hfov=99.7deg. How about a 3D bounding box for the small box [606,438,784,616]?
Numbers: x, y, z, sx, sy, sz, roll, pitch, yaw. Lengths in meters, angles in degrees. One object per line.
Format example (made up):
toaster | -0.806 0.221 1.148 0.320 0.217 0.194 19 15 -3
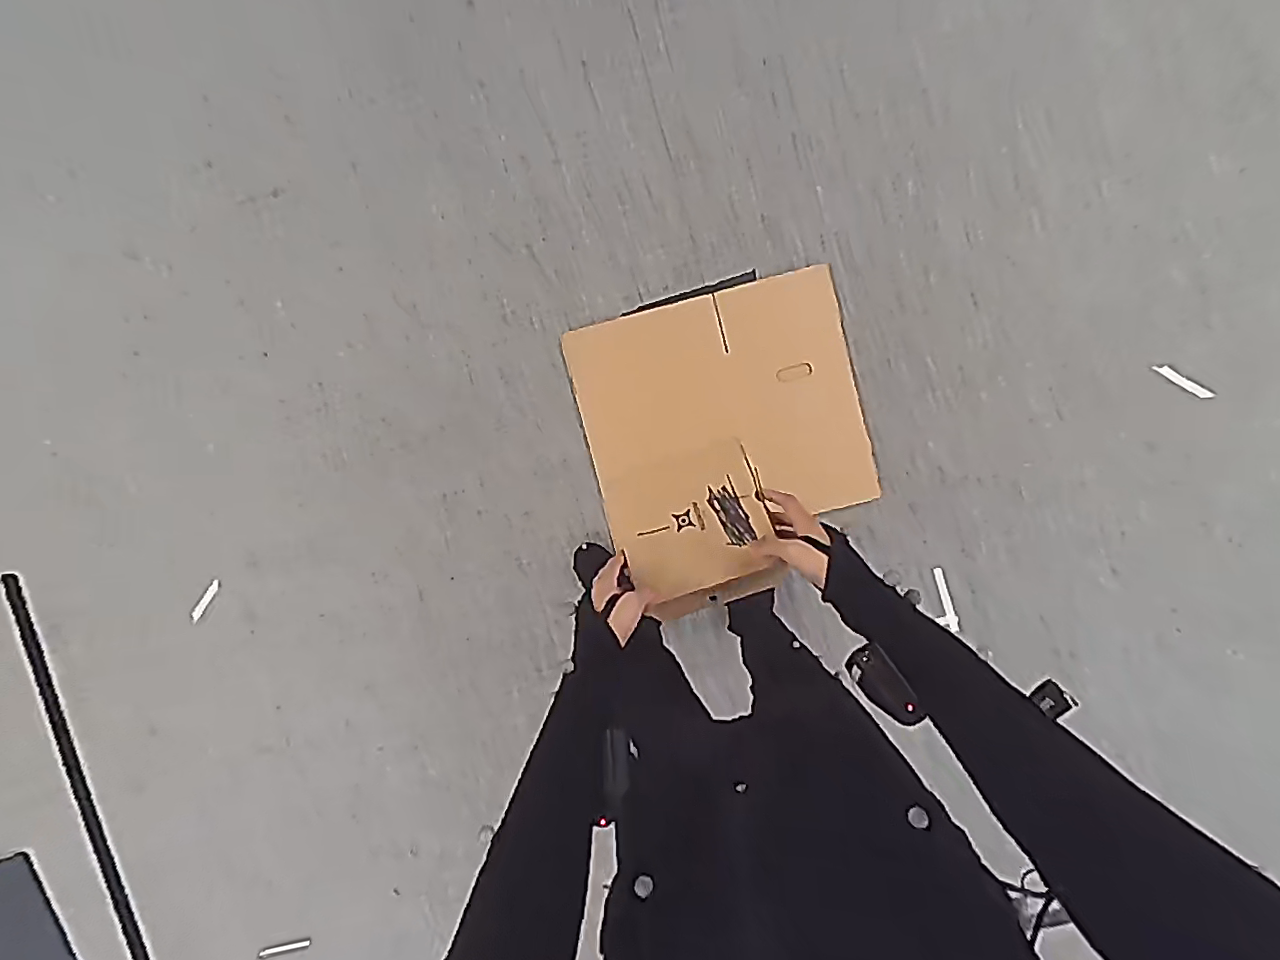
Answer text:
small box | 0.073 0.071 0.710 0.179 0.176 0.168 -19 68 5
